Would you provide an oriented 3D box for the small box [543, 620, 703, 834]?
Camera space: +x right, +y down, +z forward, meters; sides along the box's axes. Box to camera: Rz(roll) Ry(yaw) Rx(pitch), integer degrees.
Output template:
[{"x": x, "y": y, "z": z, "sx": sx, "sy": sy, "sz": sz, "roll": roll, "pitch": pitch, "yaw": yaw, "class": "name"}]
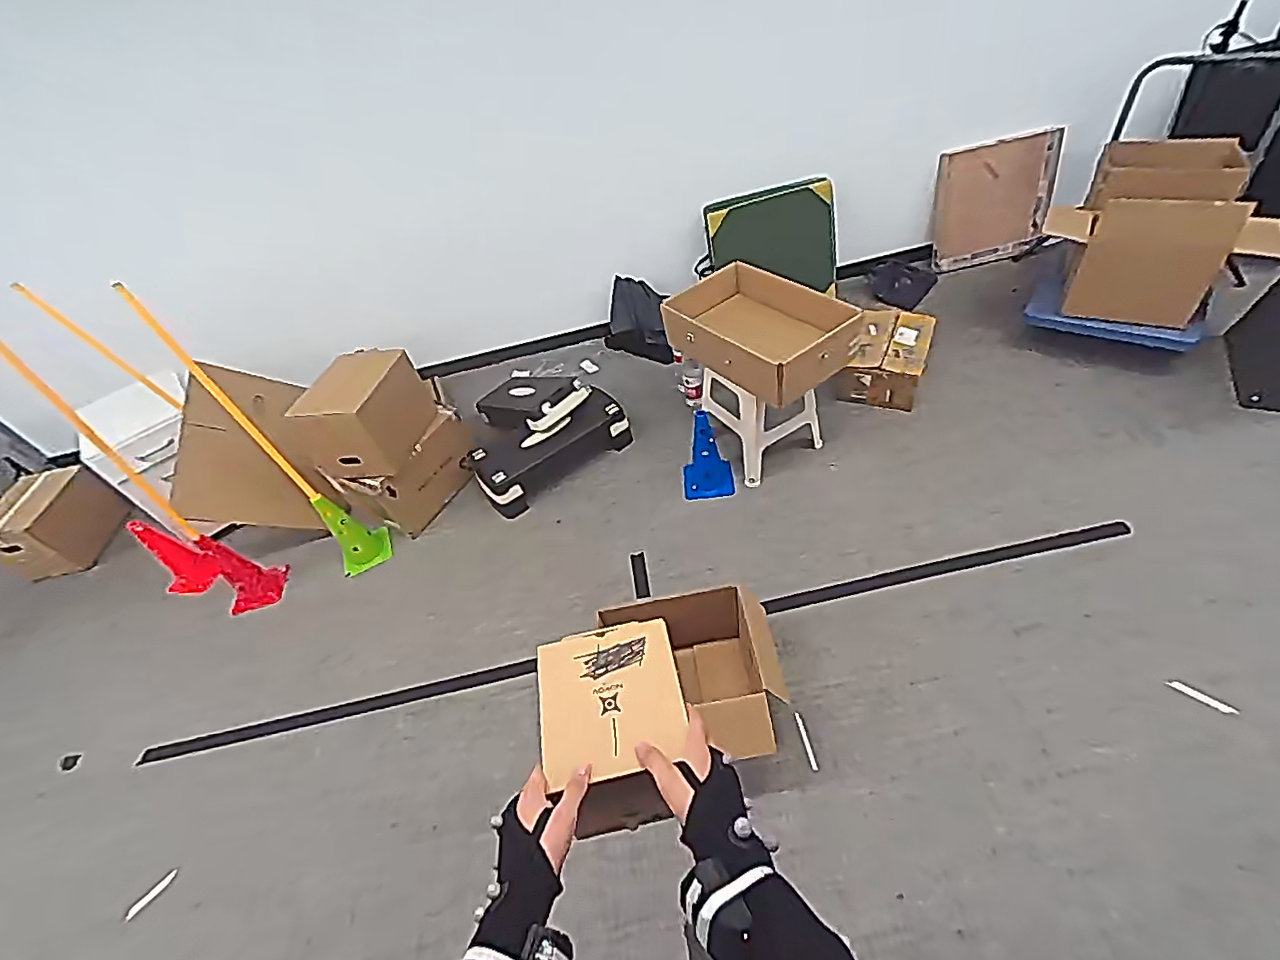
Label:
[{"x": -0.022, "y": 0.308, "z": 0.679, "sx": 0.168, "sy": 0.176, "sz": 0.179, "roll": -12, "pitch": 42, "yaw": -2, "class": "small box"}]
